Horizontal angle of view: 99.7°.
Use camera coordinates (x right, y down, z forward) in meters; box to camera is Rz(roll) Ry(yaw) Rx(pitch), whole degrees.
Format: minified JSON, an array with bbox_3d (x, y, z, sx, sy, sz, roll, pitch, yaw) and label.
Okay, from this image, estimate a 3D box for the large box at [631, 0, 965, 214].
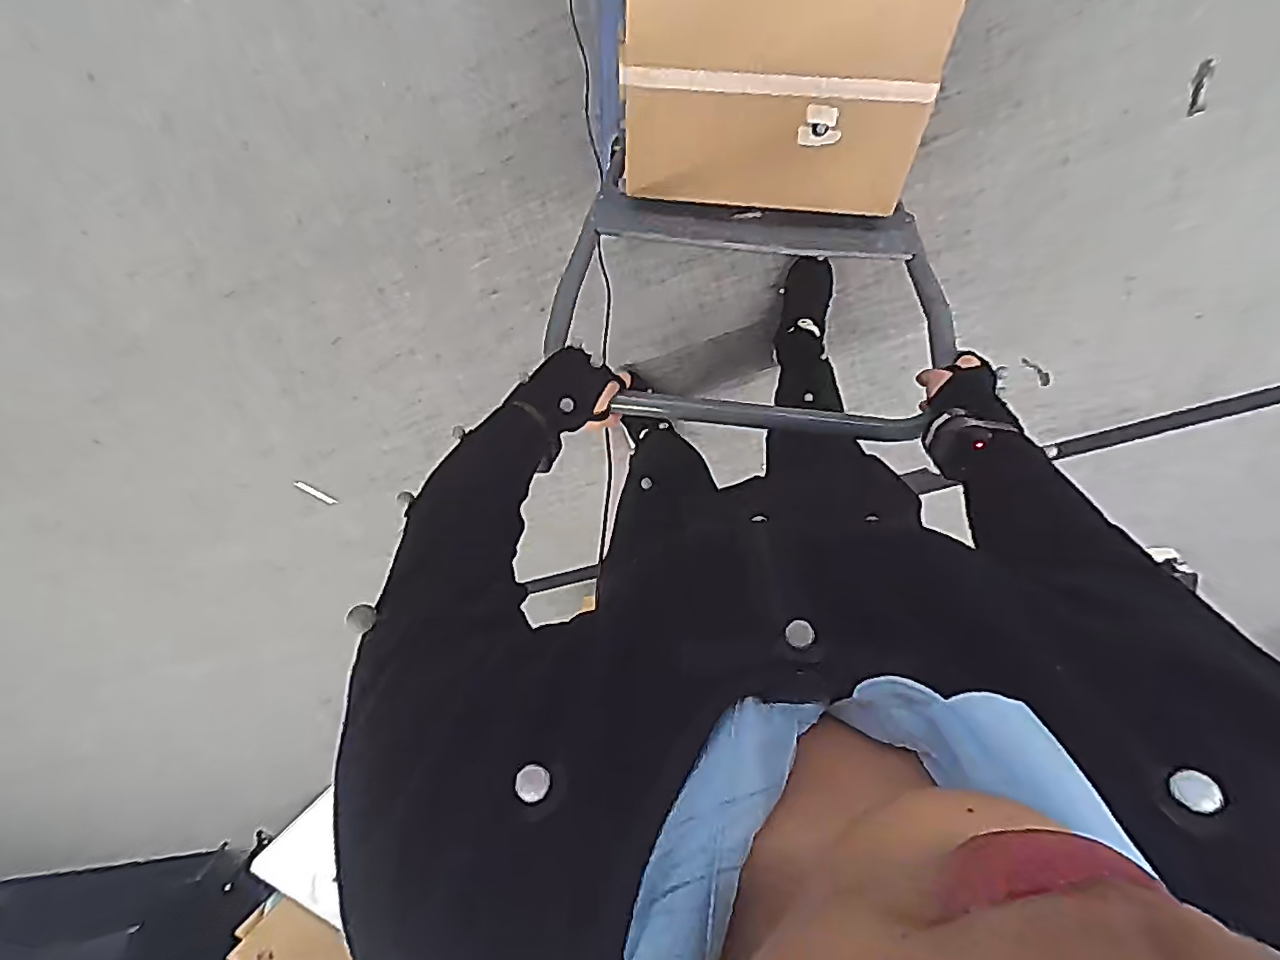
[{"bbox_3d":[0.202,-0.630,0.818,0.408,0.320,0.320,6,137,3],"label":"large box"}]
